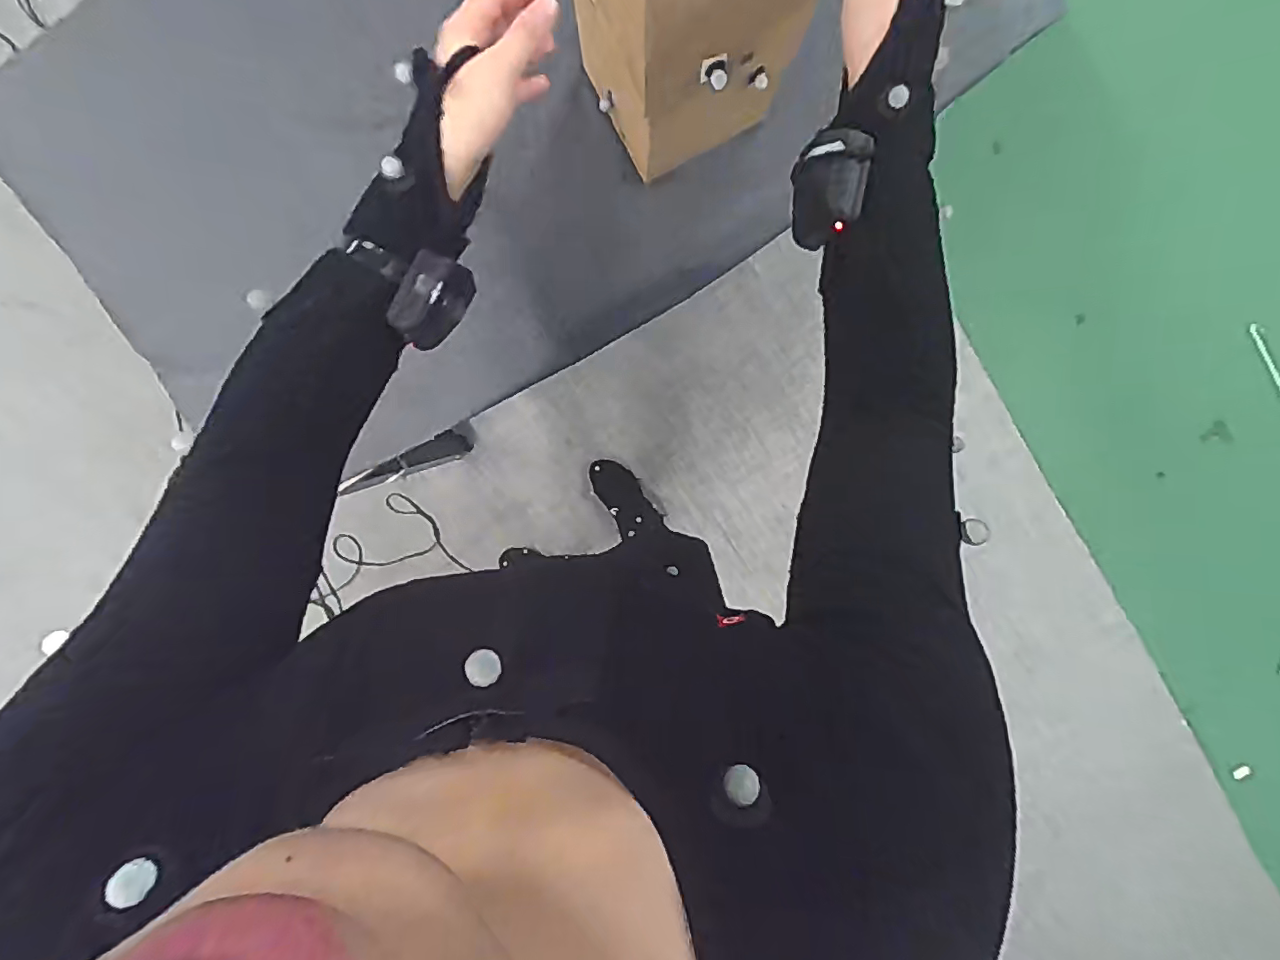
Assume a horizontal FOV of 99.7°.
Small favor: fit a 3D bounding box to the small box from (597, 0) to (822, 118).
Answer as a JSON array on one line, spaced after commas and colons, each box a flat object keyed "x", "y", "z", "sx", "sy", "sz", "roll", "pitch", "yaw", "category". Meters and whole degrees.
[{"x": 0.045, "y": -0.442, "z": 0.428, "sx": 0.168, "sy": 0.176, "sz": 0.179, "roll": -24, "pitch": 98, "yaw": 4, "category": "small box"}]

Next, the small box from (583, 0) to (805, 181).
[{"x": 0.046, "y": -0.471, "z": 0.588, "sx": 0.179, "sy": 0.176, "sz": 0.168, "roll": -28, "pitch": 96, "yaw": 3, "category": "small box"}]
